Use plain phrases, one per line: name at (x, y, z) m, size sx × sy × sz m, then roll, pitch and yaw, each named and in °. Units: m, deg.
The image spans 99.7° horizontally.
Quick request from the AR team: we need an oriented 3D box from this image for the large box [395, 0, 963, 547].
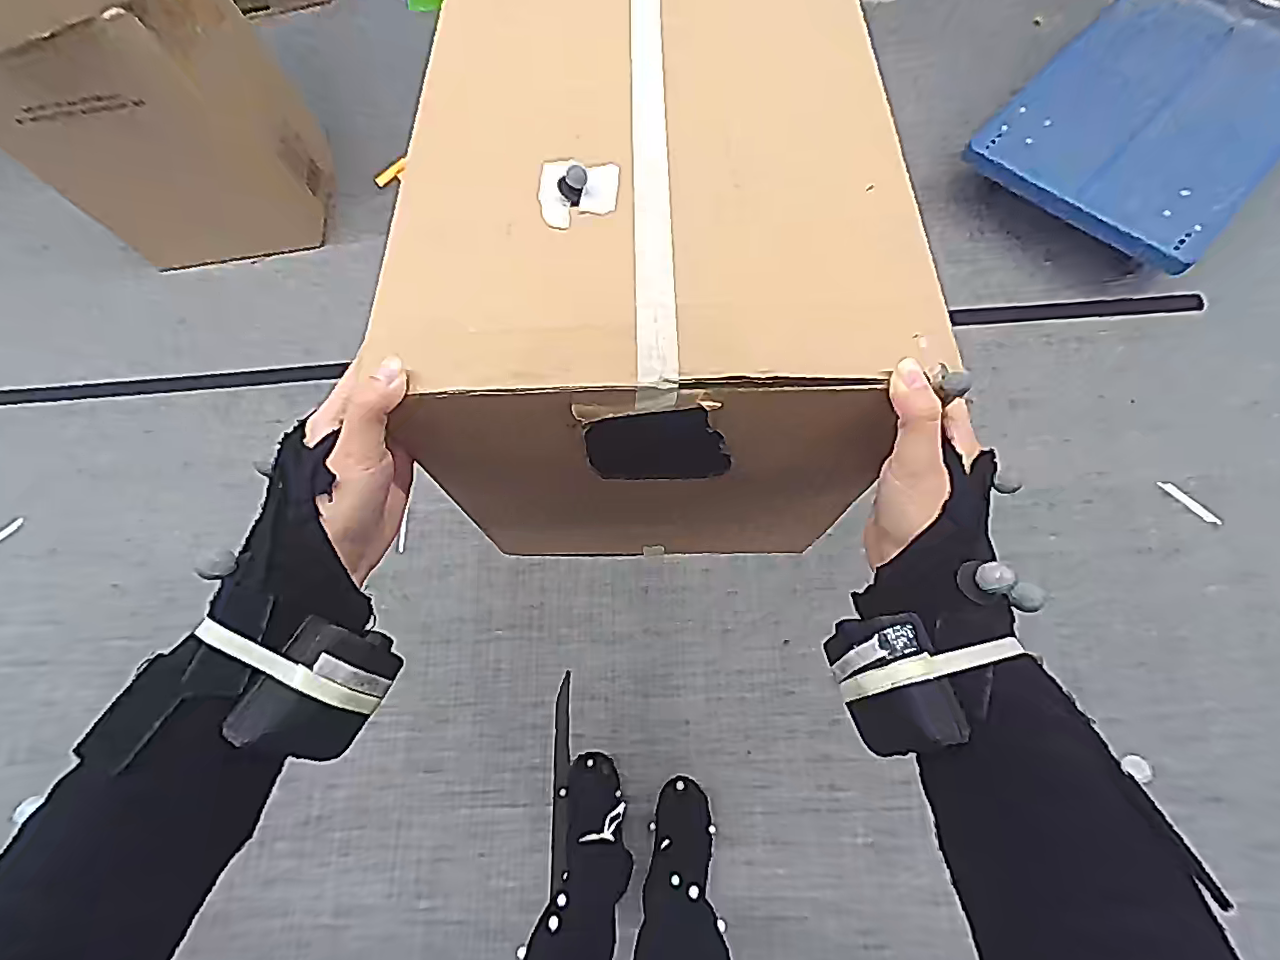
large box at (0.015, -0.174, 0.499) m, size 0.320 × 0.320 × 0.408 m, roll -2°, pitch 67°, yaw 1°
